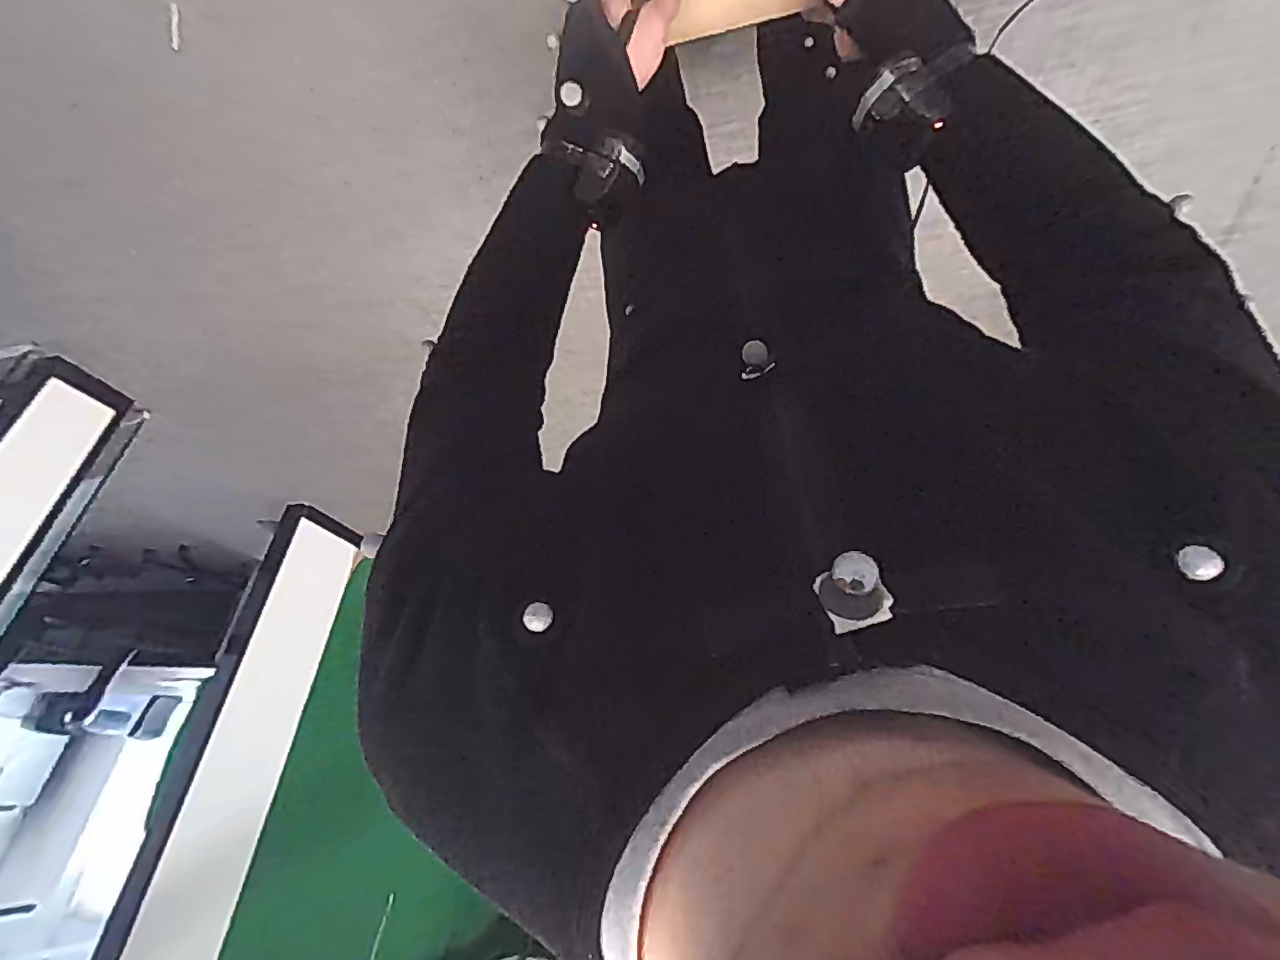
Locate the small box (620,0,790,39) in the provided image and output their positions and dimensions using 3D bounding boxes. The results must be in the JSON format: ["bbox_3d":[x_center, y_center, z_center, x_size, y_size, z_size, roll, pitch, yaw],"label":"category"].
[{"bbox_3d":[0.058,-0.510,0.458,0.179,0.176,0.168,-9,138,8],"label":"small box"}]
